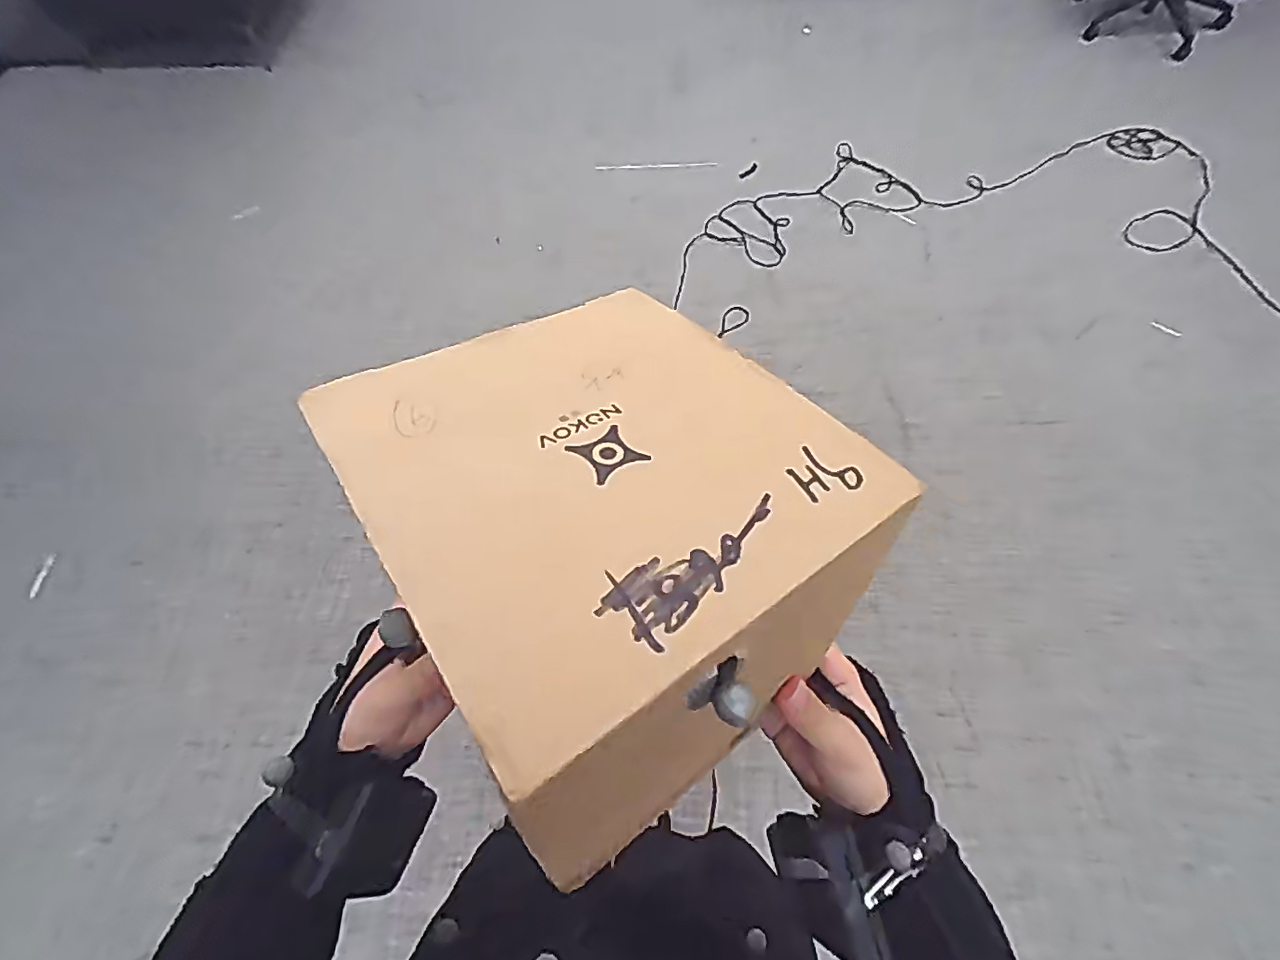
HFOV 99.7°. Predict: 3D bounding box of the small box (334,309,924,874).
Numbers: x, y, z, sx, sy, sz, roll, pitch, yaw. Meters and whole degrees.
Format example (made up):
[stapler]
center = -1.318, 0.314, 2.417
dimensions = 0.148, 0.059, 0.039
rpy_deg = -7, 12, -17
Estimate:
[small box]
center = -0.012, 0.048, 0.267
dimensions = 0.168, 0.176, 0.179
rpy_deg = -29, 54, -25
